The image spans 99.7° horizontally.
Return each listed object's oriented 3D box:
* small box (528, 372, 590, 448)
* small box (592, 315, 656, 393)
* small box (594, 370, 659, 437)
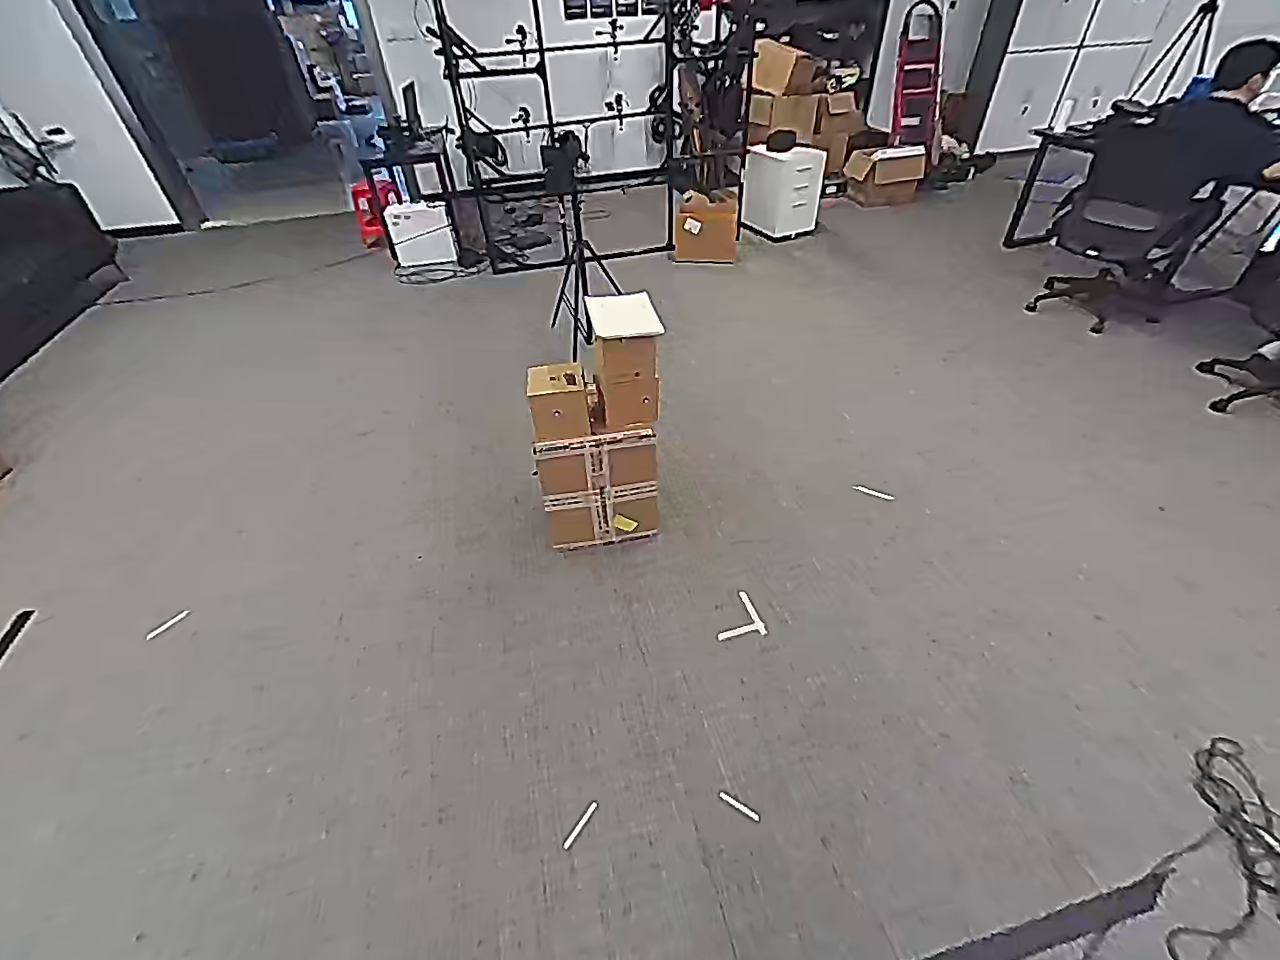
[{"bbox_3d":[-0.256,-0.223,1.736,0.179,0.176,0.168,-8,43,-3],"label":"small box"},{"bbox_3d":[-0.052,-0.389,1.665,0.168,0.176,0.179,-10,42,-10],"label":"small box"},{"bbox_3d":[-0.046,-0.263,1.769,0.179,0.176,0.168,-11,43,-11],"label":"small box"}]
